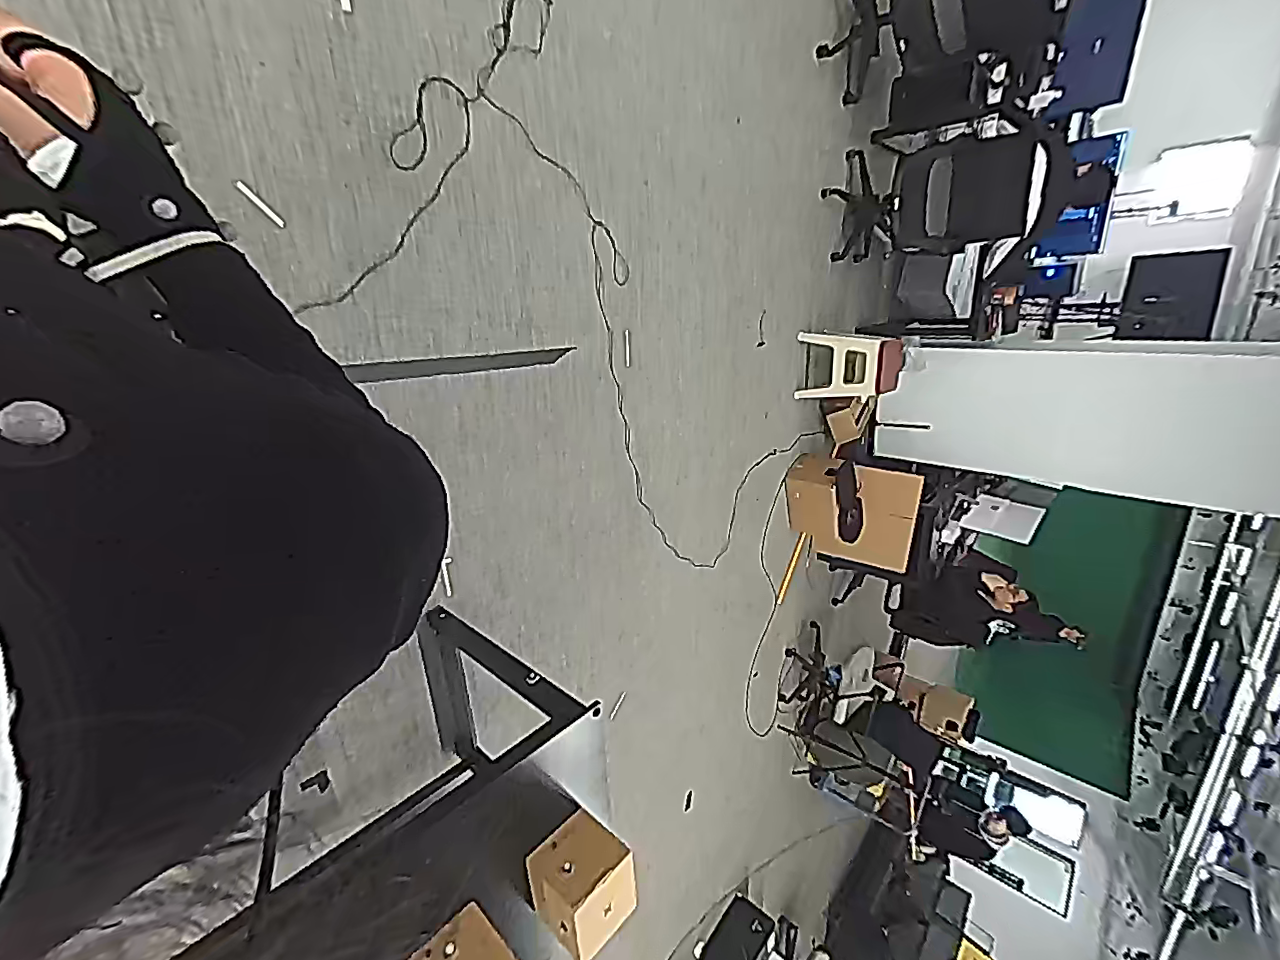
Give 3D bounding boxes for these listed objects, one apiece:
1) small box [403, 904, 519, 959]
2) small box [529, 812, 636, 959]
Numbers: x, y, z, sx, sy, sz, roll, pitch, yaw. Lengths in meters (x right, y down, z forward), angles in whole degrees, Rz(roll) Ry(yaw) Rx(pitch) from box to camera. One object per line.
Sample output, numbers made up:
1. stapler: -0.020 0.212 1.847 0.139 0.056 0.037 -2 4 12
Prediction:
1. small box: -0.323 0.947 0.992 0.168 0.176 0.179 -22 116 -43
2. small box: -0.129 0.879 1.194 0.168 0.176 0.179 -23 118 -42
